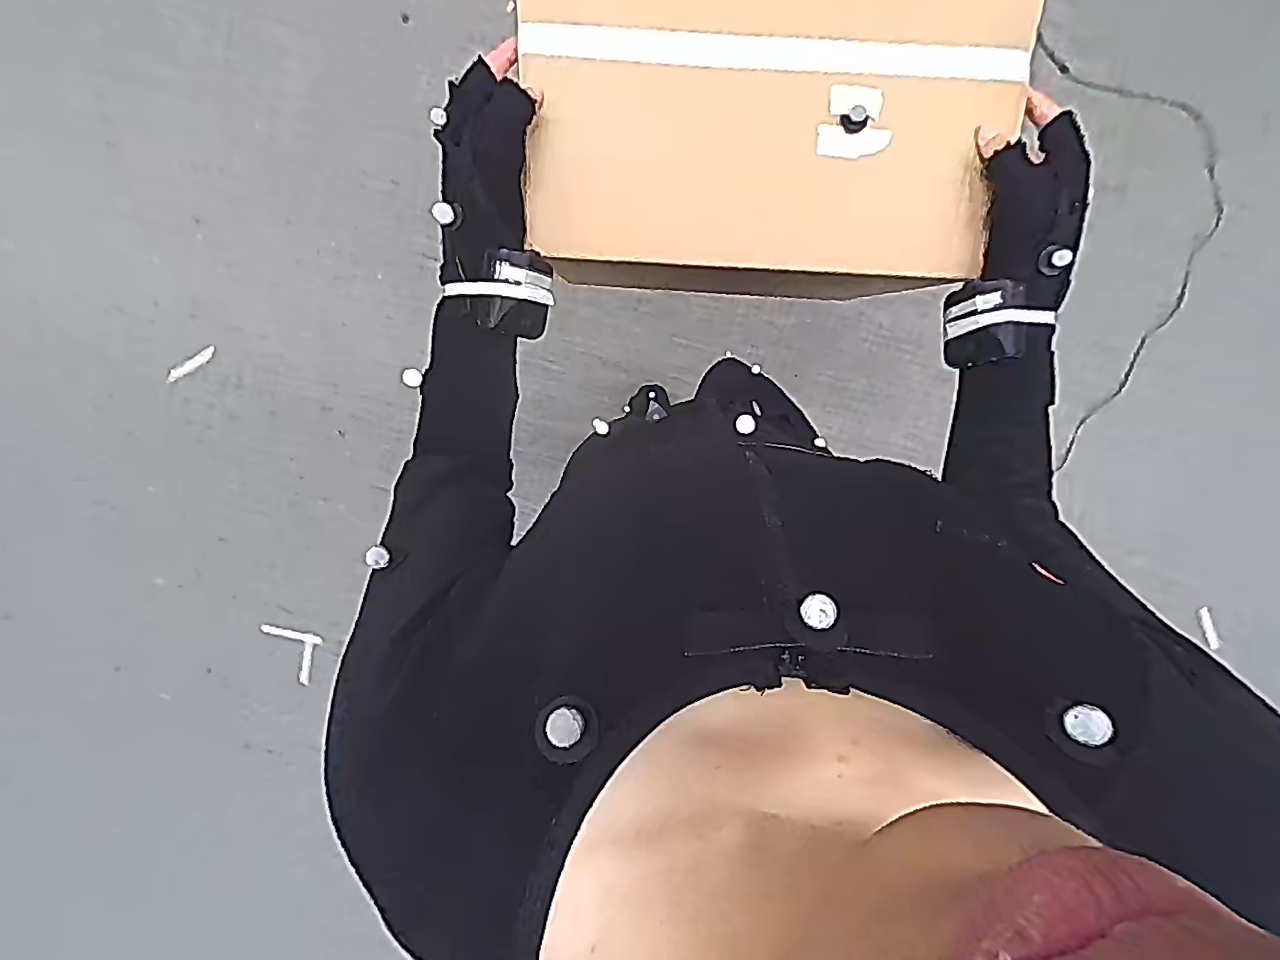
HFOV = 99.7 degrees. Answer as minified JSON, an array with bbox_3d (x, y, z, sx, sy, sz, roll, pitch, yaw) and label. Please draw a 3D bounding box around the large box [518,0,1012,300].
[{"bbox_3d":[0.095,-0.374,0.589,0.408,0.320,0.320,2,104,-1],"label":"large box"}]
